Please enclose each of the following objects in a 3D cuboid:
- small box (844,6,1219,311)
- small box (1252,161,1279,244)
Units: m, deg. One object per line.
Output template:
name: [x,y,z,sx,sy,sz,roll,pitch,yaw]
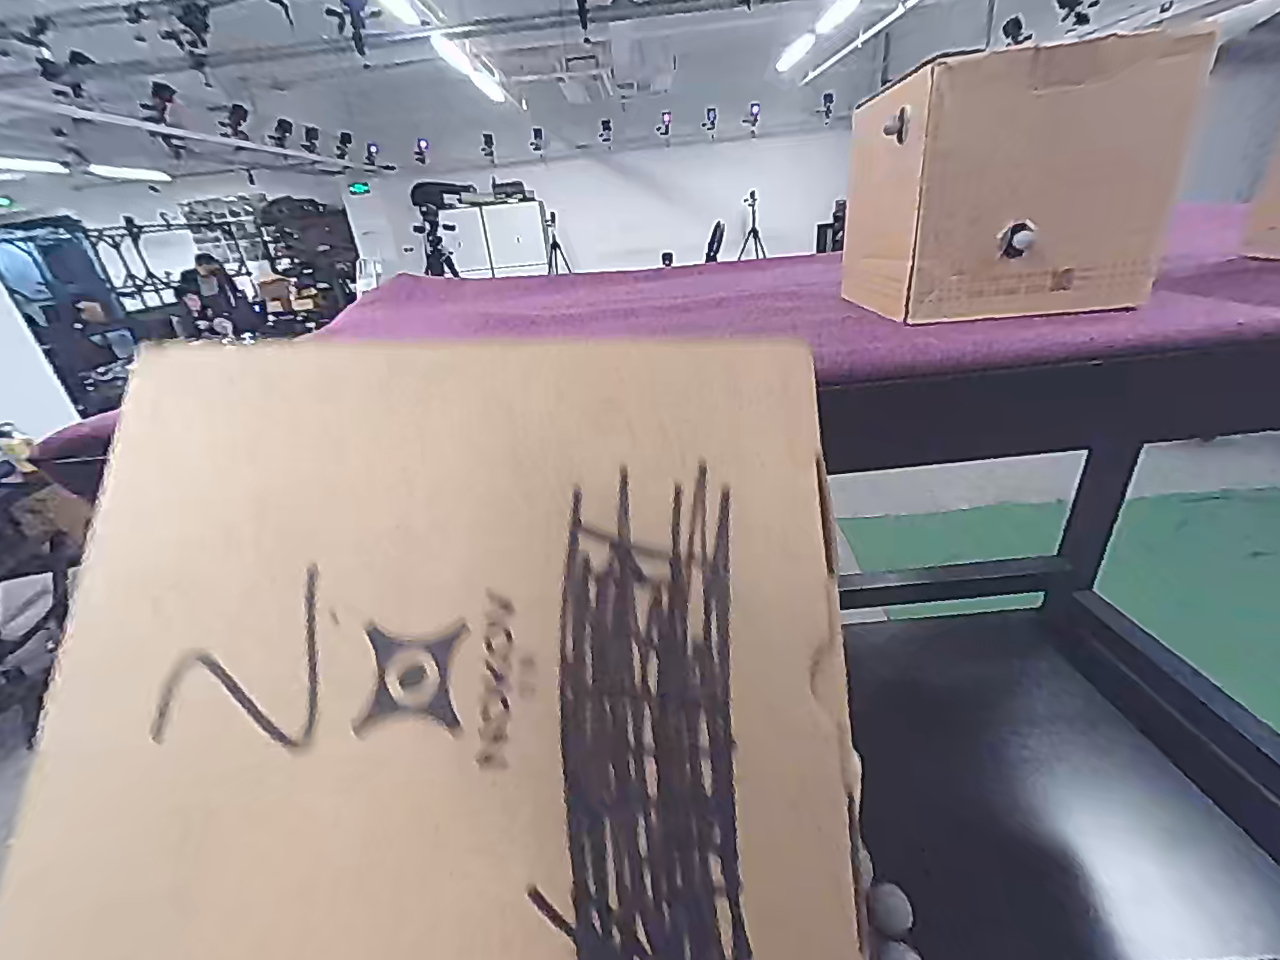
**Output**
small box: [0.271,-0.235,0.433,0.168,0.176,0.179,-4,26,5]
small box: [0.655,-0.271,0.412,0.168,0.176,0.179,-4,27,7]
